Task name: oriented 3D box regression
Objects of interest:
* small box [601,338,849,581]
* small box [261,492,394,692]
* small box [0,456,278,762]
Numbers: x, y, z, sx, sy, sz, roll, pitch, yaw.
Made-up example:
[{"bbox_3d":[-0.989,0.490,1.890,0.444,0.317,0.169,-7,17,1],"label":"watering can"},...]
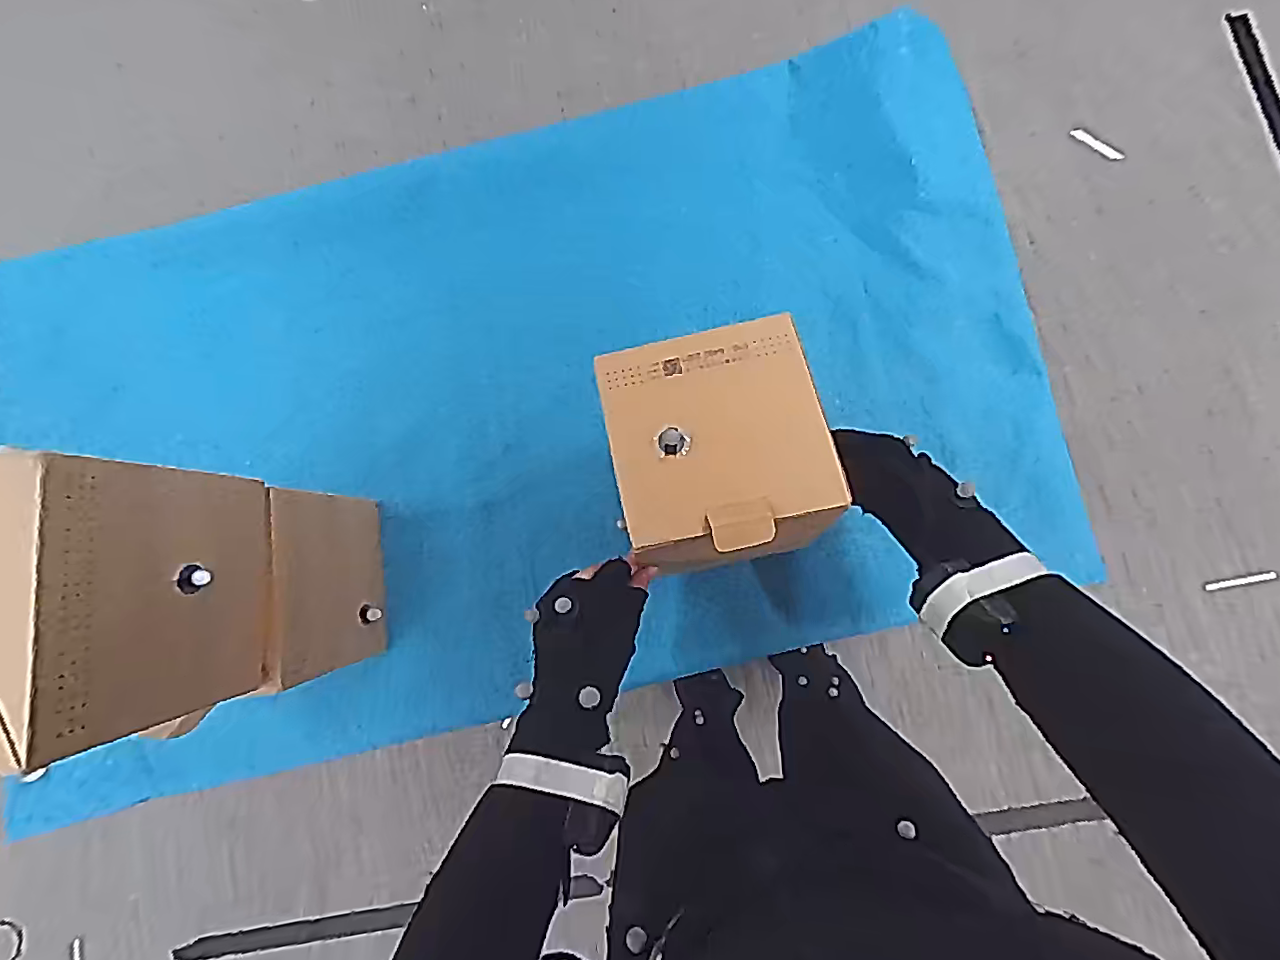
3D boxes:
[{"bbox_3d":[0.066,-0.015,0.503,0.168,0.179,0.176,-12,73,1],"label":"small box"},{"bbox_3d":[-0.375,0.115,0.546,0.168,0.176,0.179,-8,83,3],"label":"small box"},{"bbox_3d":[-0.397,0.086,0.385,0.168,0.176,0.179,-4,85,4],"label":"small box"}]
